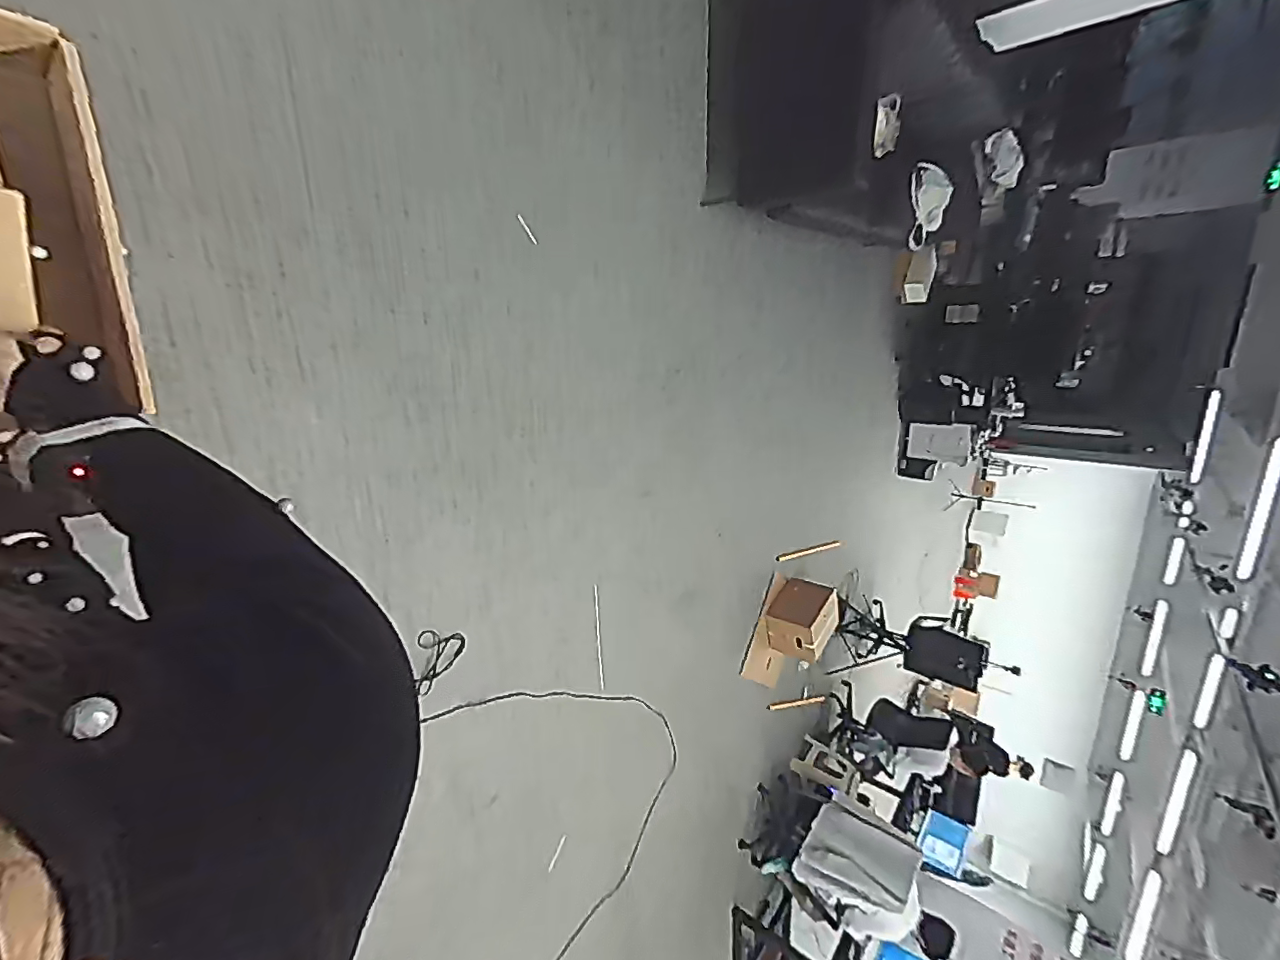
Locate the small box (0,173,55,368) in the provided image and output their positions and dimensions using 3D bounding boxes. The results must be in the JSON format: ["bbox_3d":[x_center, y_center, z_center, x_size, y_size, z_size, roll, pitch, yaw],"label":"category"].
[{"bbox_3d":[-0.687,-0.201,0.509,0.168,0.176,0.179,-8,106,-48],"label":"small box"}]
